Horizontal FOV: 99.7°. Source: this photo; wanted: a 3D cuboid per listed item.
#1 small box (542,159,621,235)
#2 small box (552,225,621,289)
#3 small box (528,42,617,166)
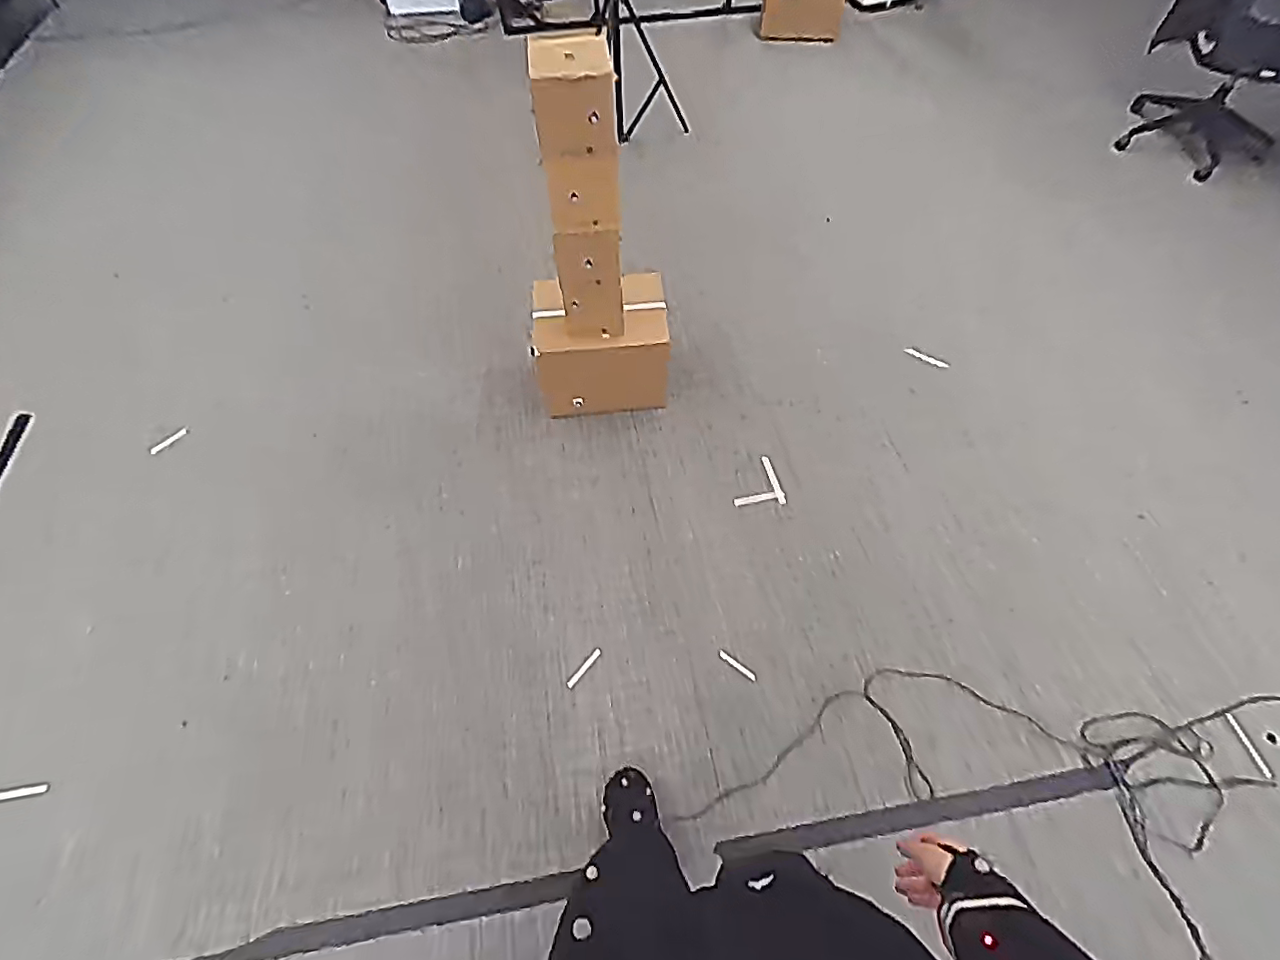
[{"bbox_3d":[-0.138,-0.703,1.286,0.168,0.176,0.179,-7,58,-3],"label":"small box"},{"bbox_3d":[-0.139,-0.621,1.426,0.168,0.176,0.179,-5,60,-2],"label":"small box"},{"bbox_3d":[-0.140,-0.792,1.149,0.168,0.176,0.179,-7,57,-5],"label":"small box"}]
